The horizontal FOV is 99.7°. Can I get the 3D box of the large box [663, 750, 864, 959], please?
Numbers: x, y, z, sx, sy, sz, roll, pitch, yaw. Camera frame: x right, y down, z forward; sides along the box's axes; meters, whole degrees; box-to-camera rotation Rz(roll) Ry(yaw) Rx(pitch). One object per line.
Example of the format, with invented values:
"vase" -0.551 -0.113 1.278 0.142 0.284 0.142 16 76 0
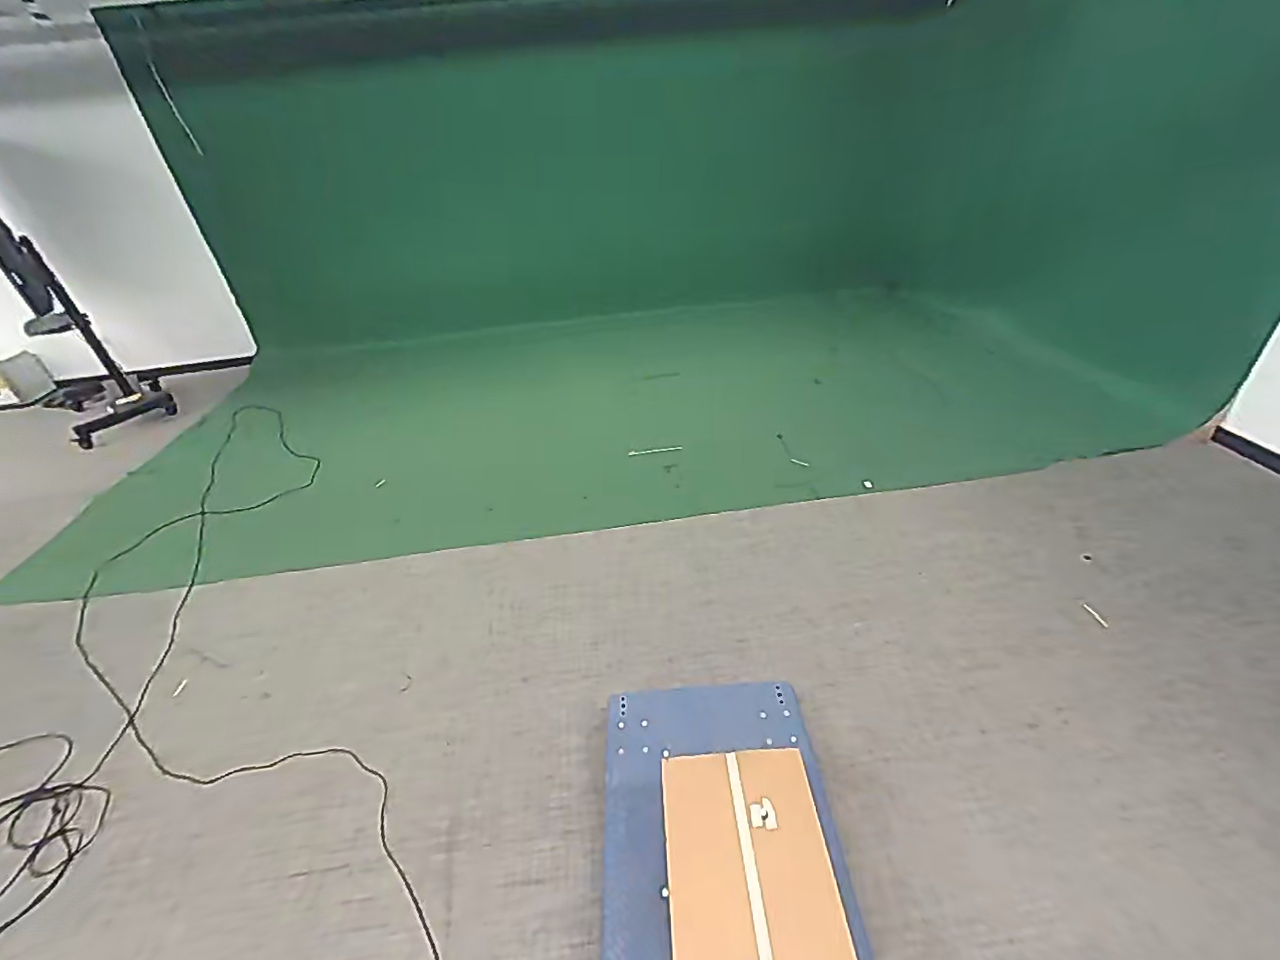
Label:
"large box" 0.226 0.846 1.120 0.320 0.320 0.408 -4 34 1
